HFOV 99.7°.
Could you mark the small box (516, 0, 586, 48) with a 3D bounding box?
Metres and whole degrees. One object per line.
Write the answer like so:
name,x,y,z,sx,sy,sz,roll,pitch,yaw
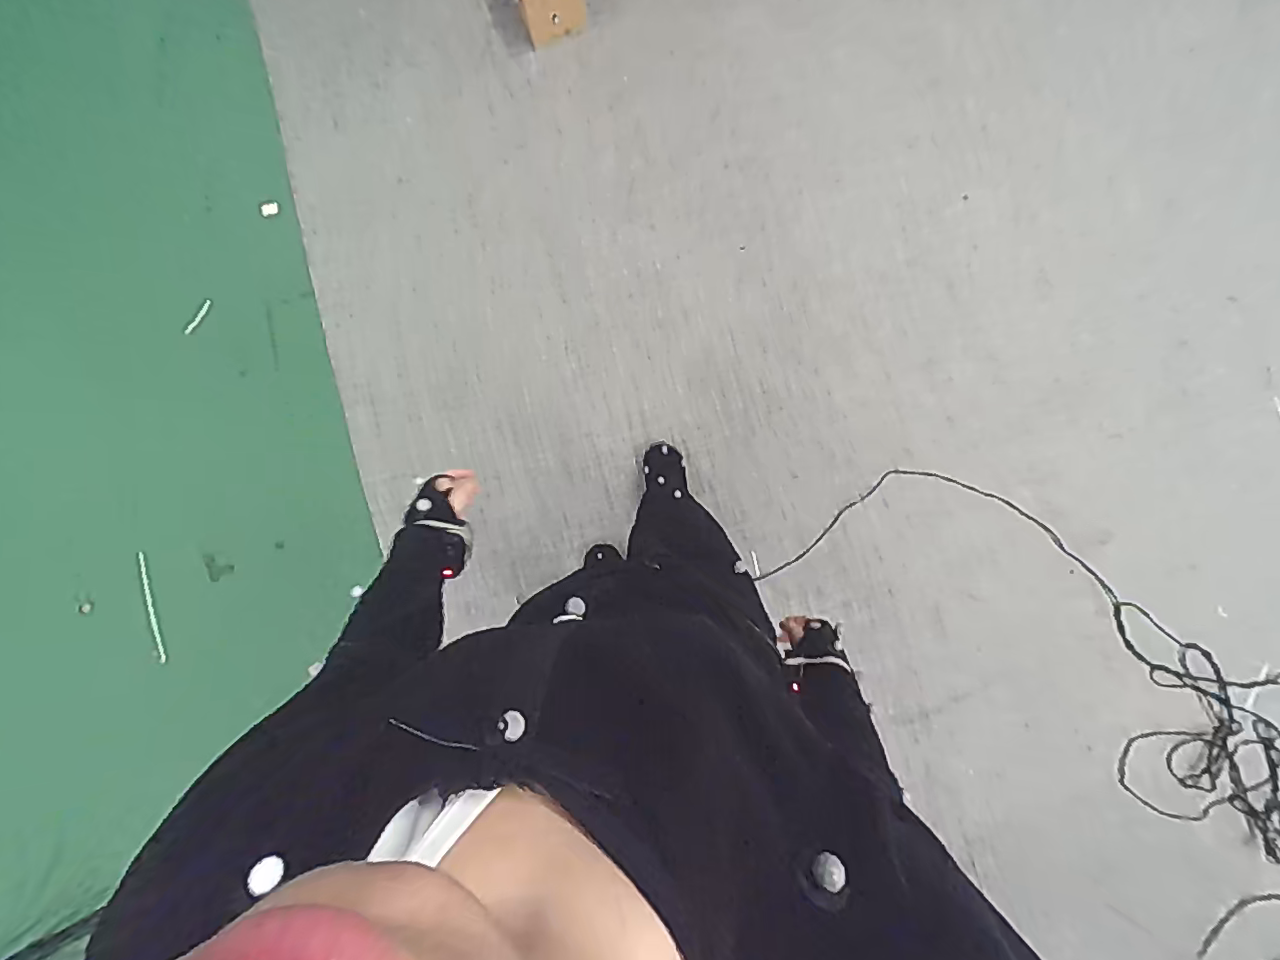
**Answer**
small box,-0.259,-1.361,1.511,0.168,0.176,0.179,-22,87,-1
